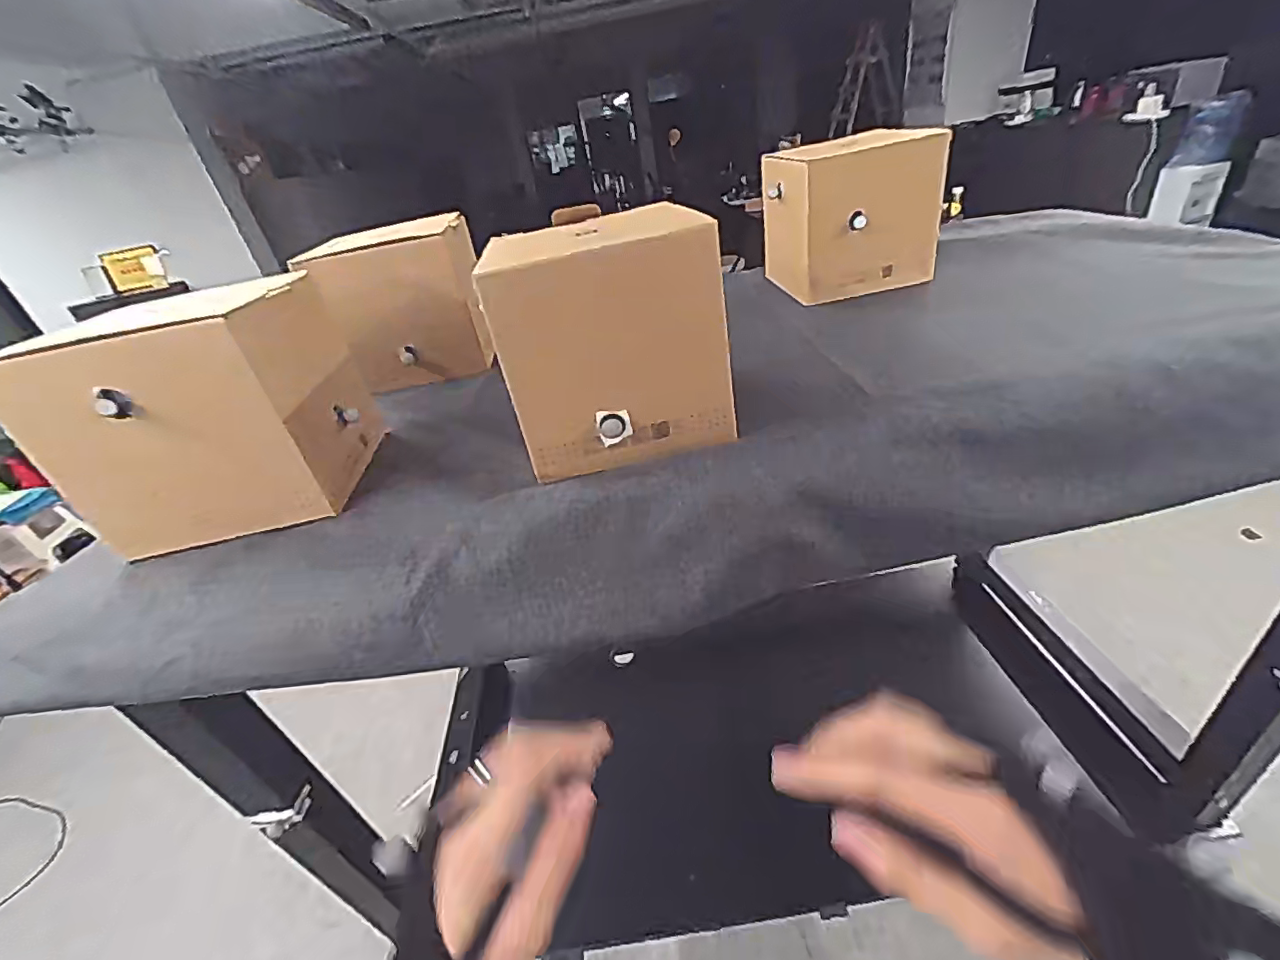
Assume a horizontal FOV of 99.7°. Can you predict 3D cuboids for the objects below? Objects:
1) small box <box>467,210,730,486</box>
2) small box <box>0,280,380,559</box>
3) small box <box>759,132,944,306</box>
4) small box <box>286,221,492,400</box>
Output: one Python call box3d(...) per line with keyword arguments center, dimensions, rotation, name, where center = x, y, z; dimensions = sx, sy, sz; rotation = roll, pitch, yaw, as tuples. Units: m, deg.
box3d(center=(-0.031, -0.118, 0.460), dimensions=(0.168, 0.176, 0.179), rotation=(-14, 31, -3), name="small box")
box3d(center=(-0.356, -0.054, 0.458), dimensions=(0.179, 0.176, 0.168), rotation=(-12, 32, -3), name="small box")
box3d(center=(0.264, -0.339, 0.709), dimensions=(0.168, 0.176, 0.179), rotation=(-12, 33, 0), name="small box")
box3d(center=(-0.301, -0.221, 0.702), dimensions=(0.179, 0.176, 0.168), rotation=(-11, 33, -2), name="small box")
